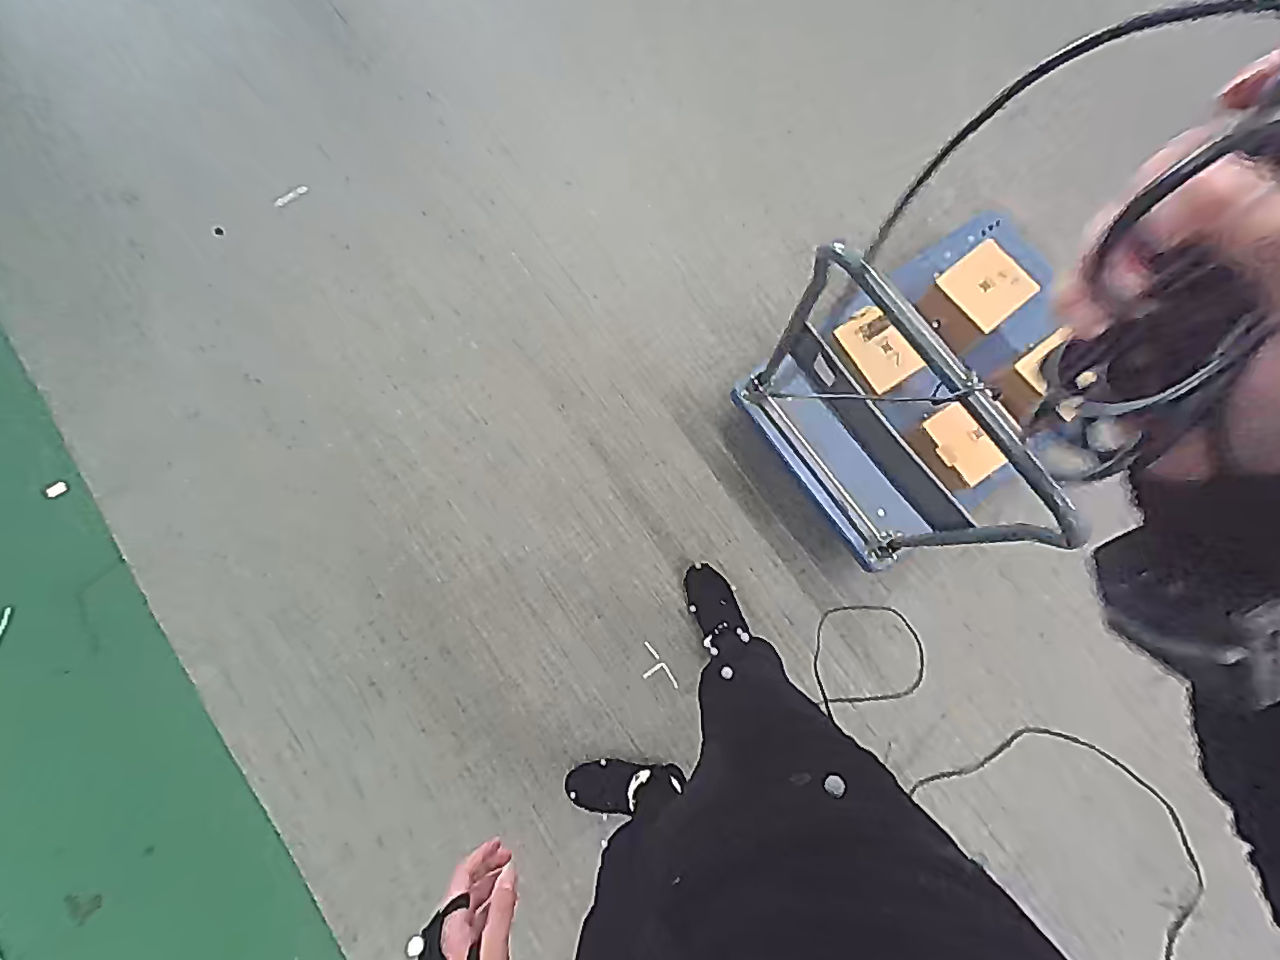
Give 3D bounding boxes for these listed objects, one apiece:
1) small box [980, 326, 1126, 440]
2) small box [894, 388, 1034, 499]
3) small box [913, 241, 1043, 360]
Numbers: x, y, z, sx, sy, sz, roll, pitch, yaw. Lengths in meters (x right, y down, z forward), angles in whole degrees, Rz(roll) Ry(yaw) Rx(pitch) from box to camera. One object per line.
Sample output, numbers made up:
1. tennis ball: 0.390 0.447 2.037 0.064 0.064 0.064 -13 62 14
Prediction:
1. small box: 0.937 -0.213 1.248 0.179 0.176 0.168 -36 81 -5
2. small box: 0.721 -0.076 1.226 0.179 0.176 0.168 -33 81 -5
3. small box: 0.786 -0.417 1.287 0.179 0.176 0.168 -38 82 -6
